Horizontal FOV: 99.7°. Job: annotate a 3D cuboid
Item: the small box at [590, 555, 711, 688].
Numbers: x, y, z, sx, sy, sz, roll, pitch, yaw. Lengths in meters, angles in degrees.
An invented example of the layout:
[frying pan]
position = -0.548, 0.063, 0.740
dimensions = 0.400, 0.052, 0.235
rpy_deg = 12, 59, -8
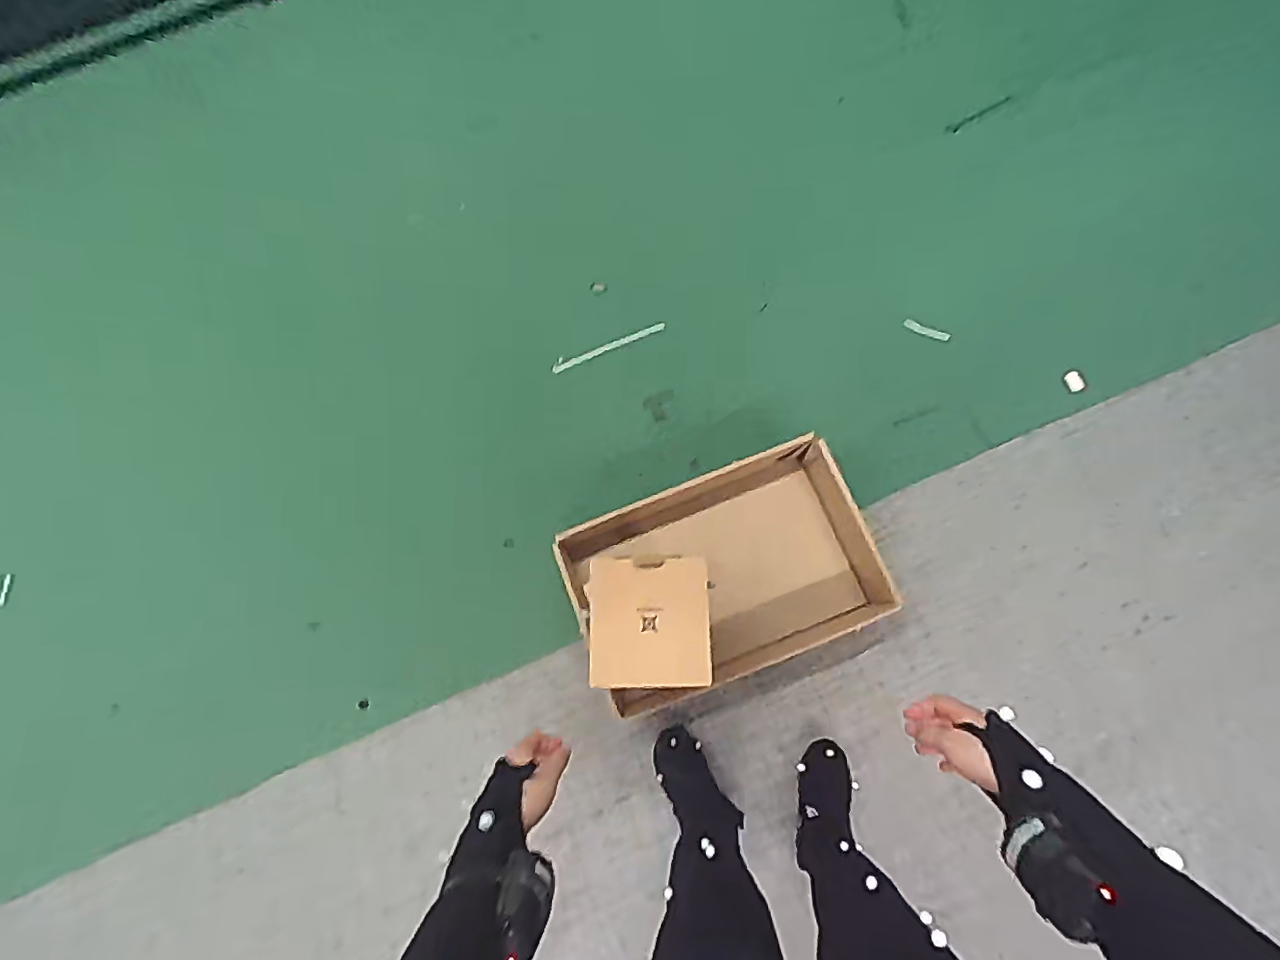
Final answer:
[small box]
position = 0.017, 0.208, 0.813
dimensions = 0.168, 0.176, 0.179
rpy_deg = -1, 76, 1
